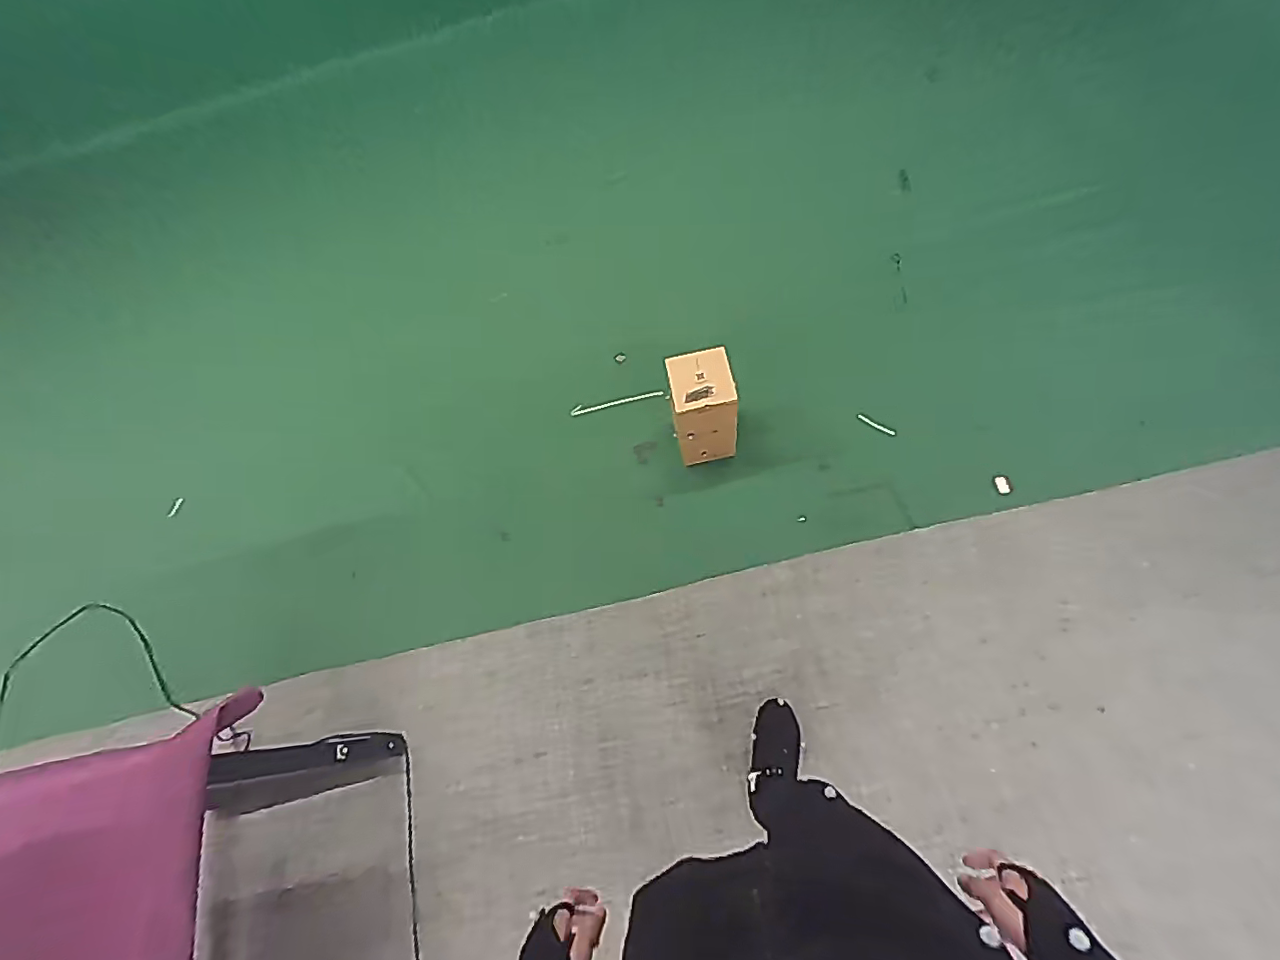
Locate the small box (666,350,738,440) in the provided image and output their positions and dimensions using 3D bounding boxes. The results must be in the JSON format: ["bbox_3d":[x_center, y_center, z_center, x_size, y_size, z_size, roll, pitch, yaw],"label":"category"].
[{"bbox_3d":[0.173,-0.226,1.500,0.168,0.176,0.179,-11,66,3],"label":"small box"}]

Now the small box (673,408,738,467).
[{"bbox_3d":[0.196,-0.163,1.650,0.168,0.176,0.179,-12,66,3],"label":"small box"}]
